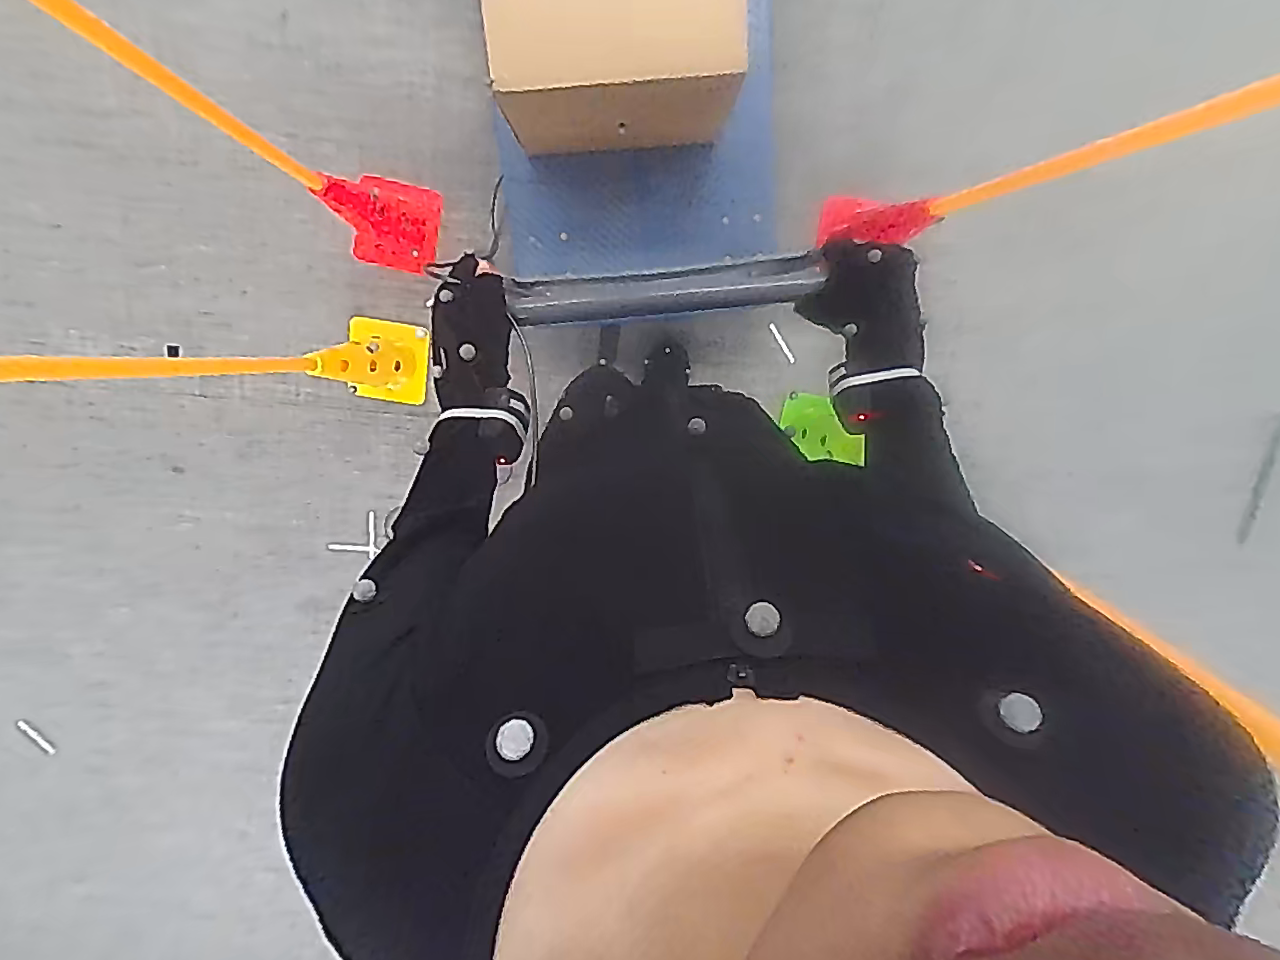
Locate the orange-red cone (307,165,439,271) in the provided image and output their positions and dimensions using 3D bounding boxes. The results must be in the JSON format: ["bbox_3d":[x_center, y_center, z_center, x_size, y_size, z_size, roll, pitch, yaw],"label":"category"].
[{"bbox_3d":[-0.591,-0.591,1.147,0.198,0.360,0.199,13,101,-5],"label":"orange-red cone"}]

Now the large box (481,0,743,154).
[{"bbox_3d":[-0.048,-0.806,0.955,0.408,0.320,0.320,-4,104,0],"label":"large box"}]

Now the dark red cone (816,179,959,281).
[{"bbox_3d":[0.542,-0.559,1.154,0.201,0.394,0.202,5,104,-4],"label":"dark red cone"}]

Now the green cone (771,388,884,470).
[{"bbox_3d":[0.470,-0.095,1.280,0.202,0.368,0.200,9,103,-4],"label":"green cone"}]
